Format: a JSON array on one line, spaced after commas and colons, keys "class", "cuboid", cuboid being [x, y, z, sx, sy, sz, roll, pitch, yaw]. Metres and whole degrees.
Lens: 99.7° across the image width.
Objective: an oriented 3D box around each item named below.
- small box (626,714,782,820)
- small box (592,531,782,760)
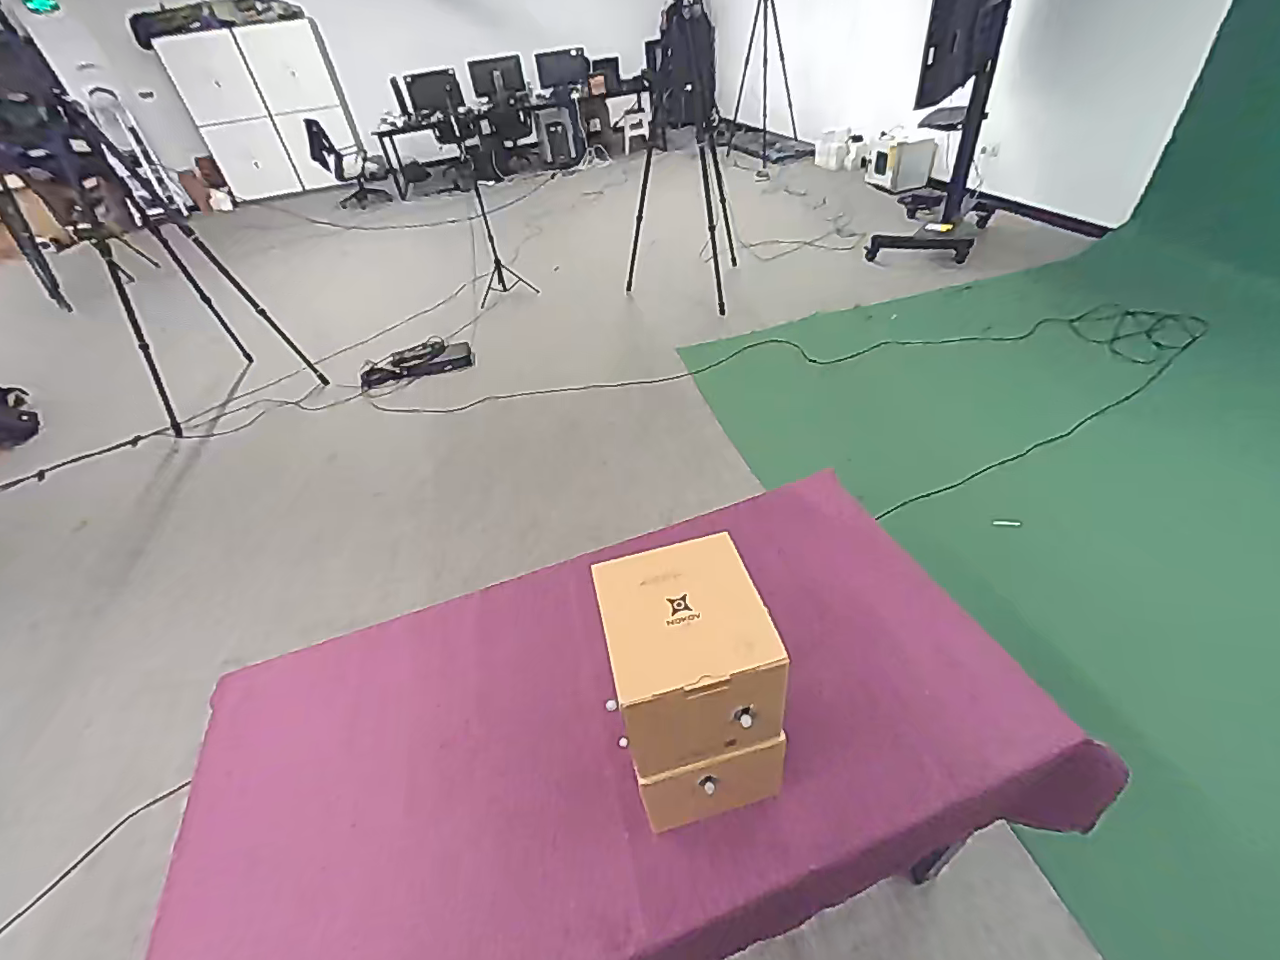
[{"class": "small box", "cuboid": [0.074, 0.318, 0.715, 0.179, 0.176, 0.168, -14, 42, -5]}, {"class": "small box", "cuboid": [0.051, 0.192, 0.615, 0.168, 0.176, 0.179, -14, 41, -5]}]
